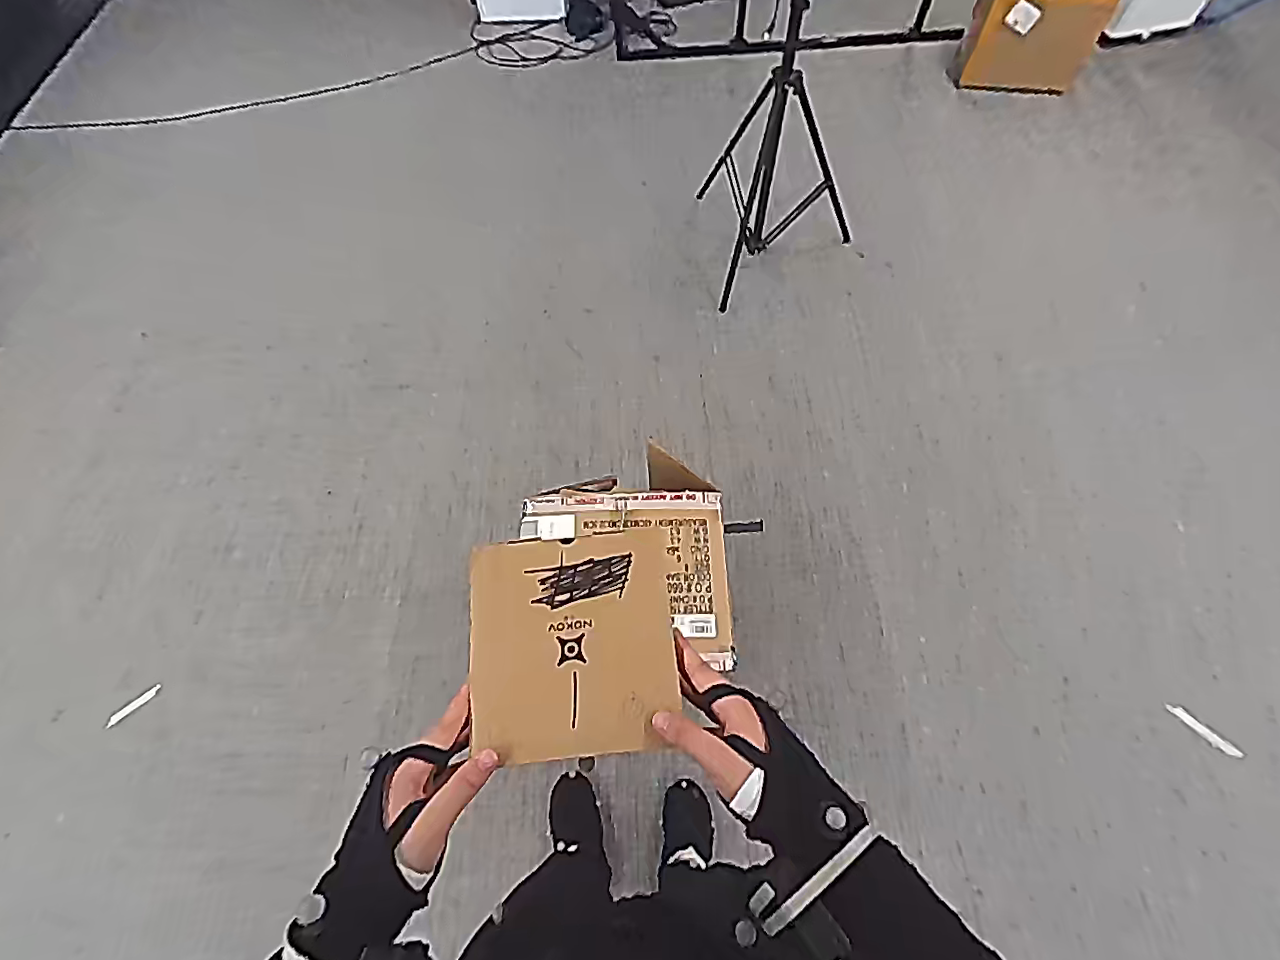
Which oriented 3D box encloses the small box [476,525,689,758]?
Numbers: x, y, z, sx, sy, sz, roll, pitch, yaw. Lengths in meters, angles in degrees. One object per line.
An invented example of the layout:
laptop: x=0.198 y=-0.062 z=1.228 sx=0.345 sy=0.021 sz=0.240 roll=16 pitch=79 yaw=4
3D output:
small box: x=-0.050 y=0.157 z=0.517 sx=0.168 sy=0.176 sz=0.179 roll=-6 pitch=67 yaw=-2
